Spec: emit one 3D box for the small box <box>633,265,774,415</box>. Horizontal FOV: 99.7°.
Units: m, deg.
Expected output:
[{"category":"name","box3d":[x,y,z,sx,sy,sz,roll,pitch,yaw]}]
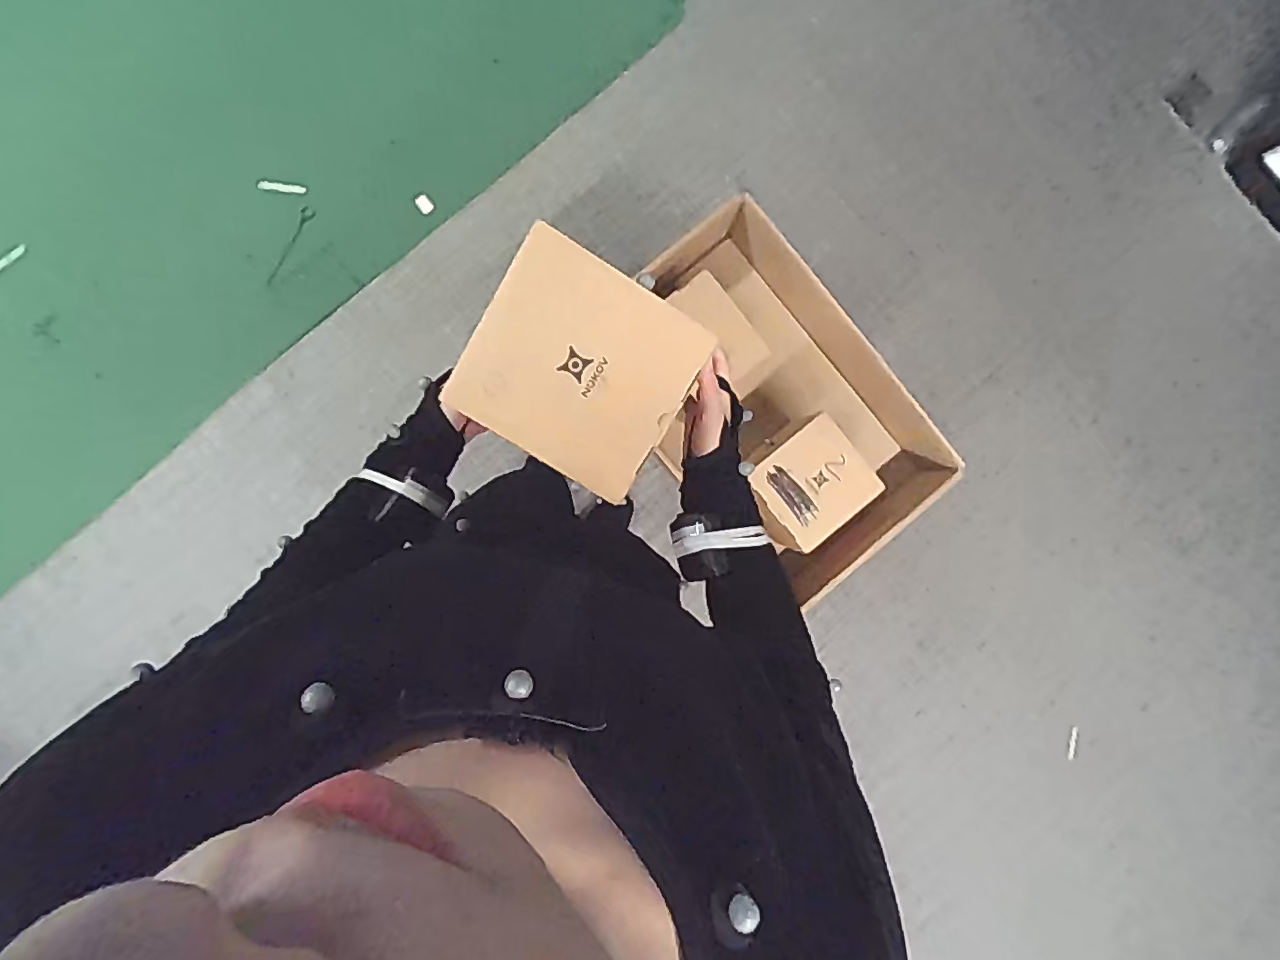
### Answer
[{"category":"small box","box3d":[0.098,-0.232,0.948,0.168,0.176,0.179,-38,93,-1]}]
